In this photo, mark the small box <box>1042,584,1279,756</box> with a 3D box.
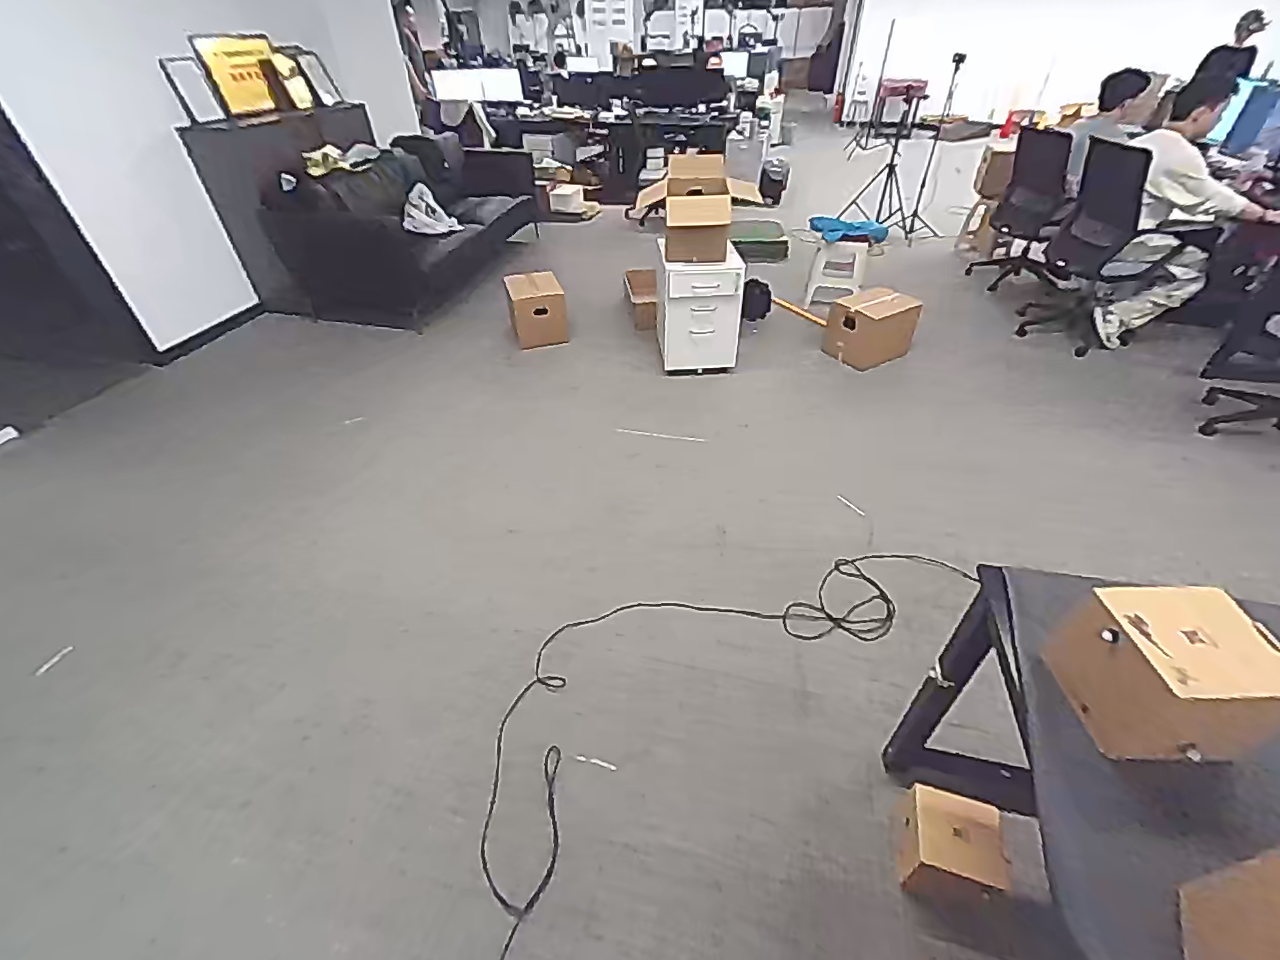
[{"bbox_3d":[0.718,0.263,0.749,0.179,0.176,0.168,0,39,2],"label":"small box"}]

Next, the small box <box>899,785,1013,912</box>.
[{"bbox_3d":[0.693,0.829,1.214,0.179,0.176,0.168,11,40,14],"label":"small box"}]
